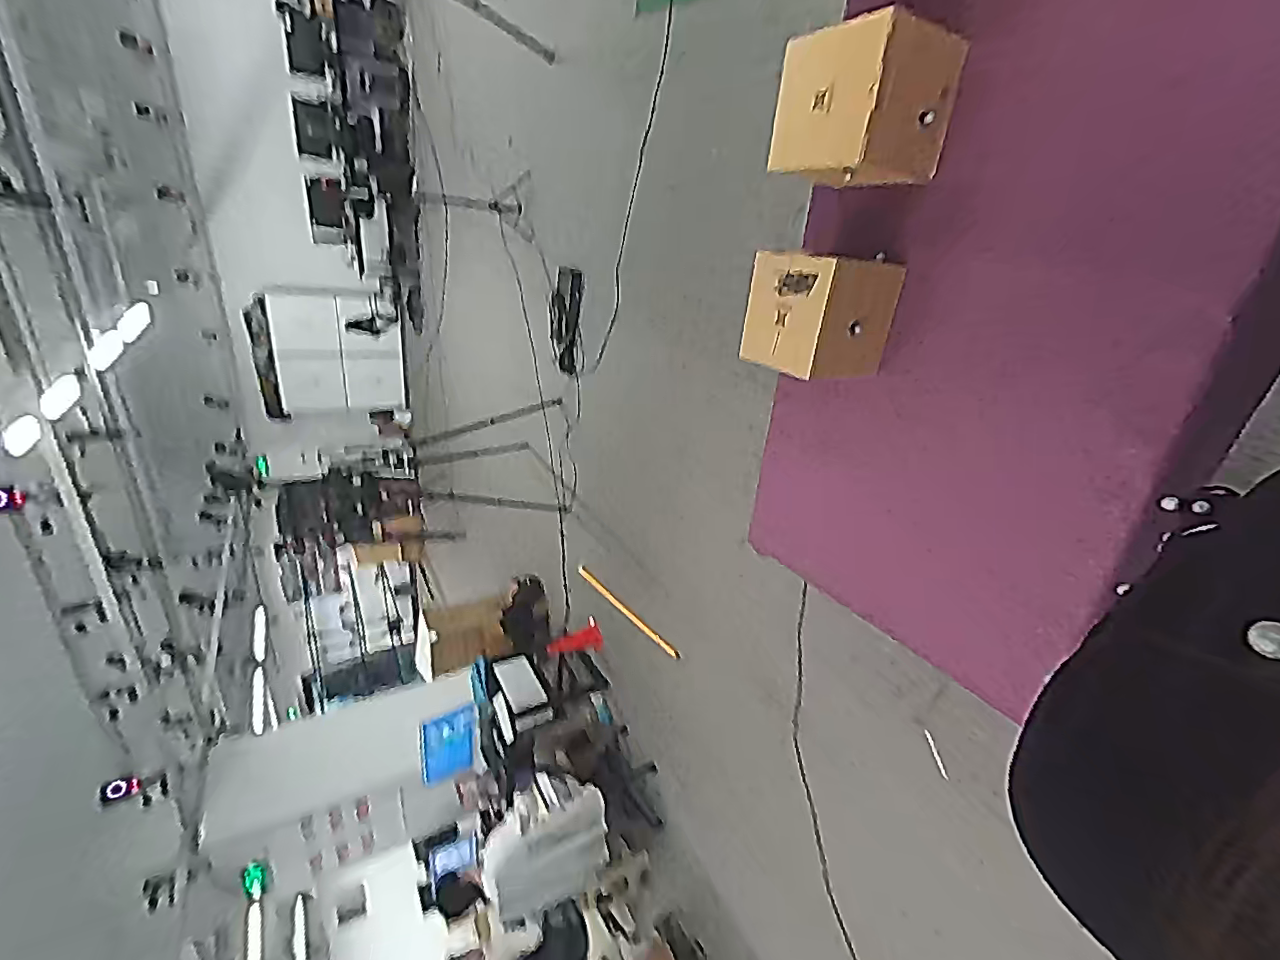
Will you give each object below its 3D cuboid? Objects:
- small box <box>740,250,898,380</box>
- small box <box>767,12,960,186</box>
[{"bbox_3d":[0.294,-0.275,0.896,0.168,0.176,0.179,38,129,49],"label":"small box"},{"bbox_3d":[0.319,-0.535,0.790,0.179,0.176,0.168,35,126,49],"label":"small box"}]
